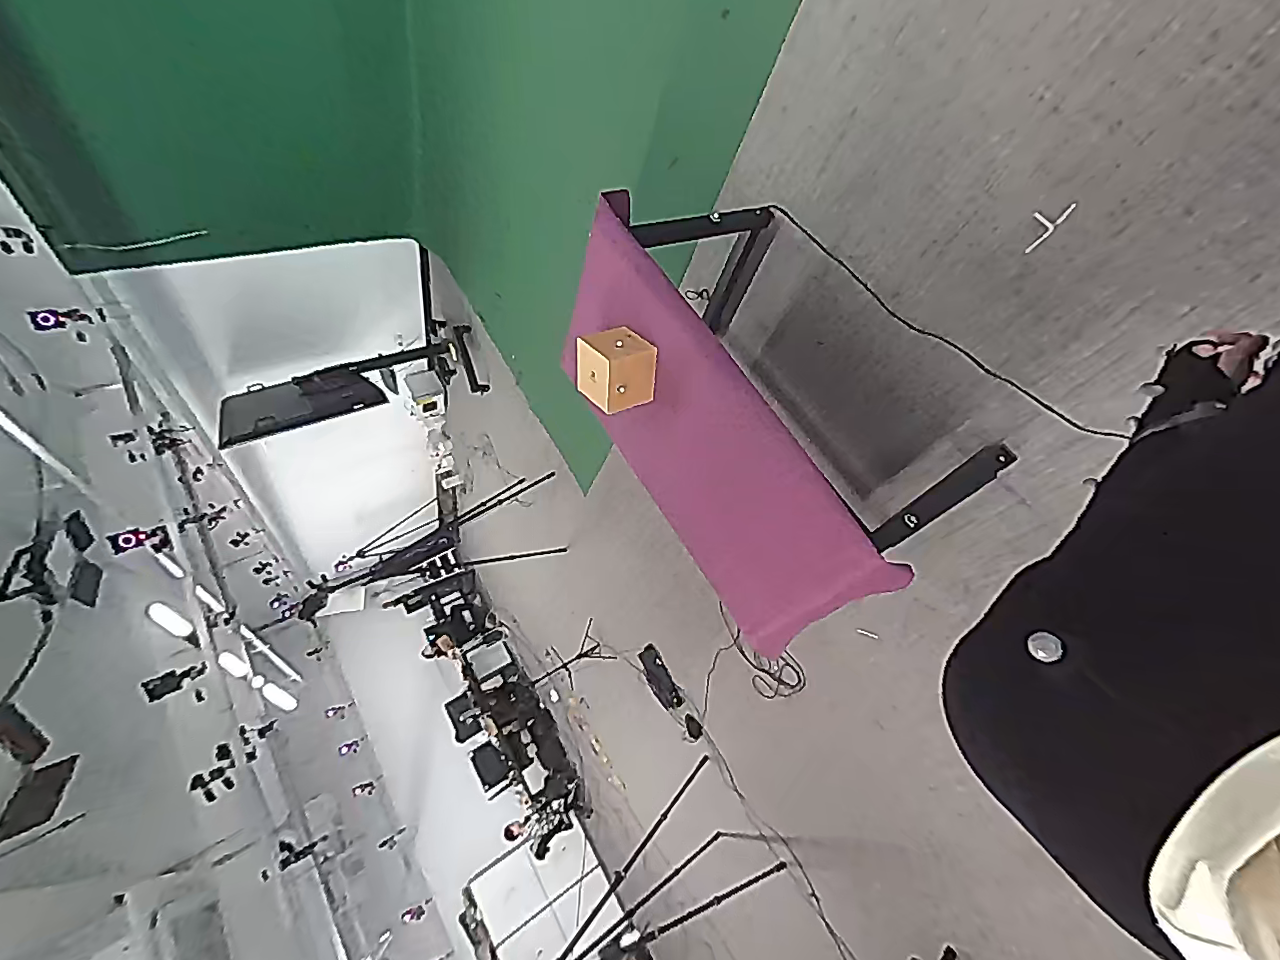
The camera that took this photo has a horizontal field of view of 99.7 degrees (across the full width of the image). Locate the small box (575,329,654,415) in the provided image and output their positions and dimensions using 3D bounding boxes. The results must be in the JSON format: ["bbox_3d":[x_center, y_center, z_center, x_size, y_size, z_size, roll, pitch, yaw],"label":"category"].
[{"bbox_3d":[-0.073,-0.322,1.581,0.168,0.176,0.179,42,143,36],"label":"small box"}]
